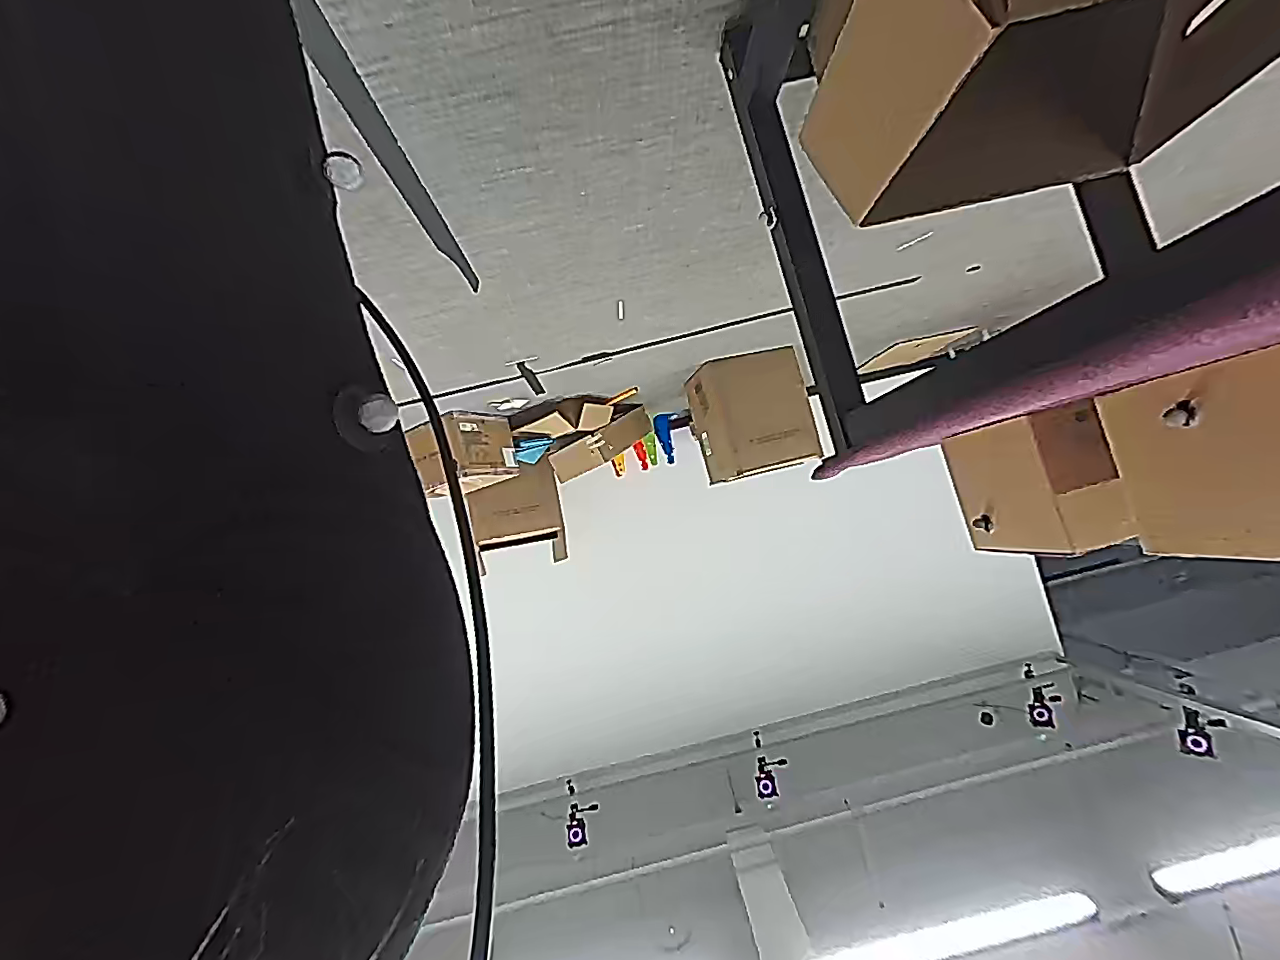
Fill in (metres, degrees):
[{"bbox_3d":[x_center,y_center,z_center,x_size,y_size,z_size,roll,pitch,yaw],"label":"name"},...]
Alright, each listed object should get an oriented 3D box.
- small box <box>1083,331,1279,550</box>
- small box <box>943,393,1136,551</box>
[{"bbox_3d":[0.551,-0.039,0.461,0.168,0.176,0.179,-15,174,-4],"label":"small box"},{"bbox_3d":[0.530,-0.013,0.705,0.168,0.176,0.179,-16,175,-4],"label":"small box"}]
